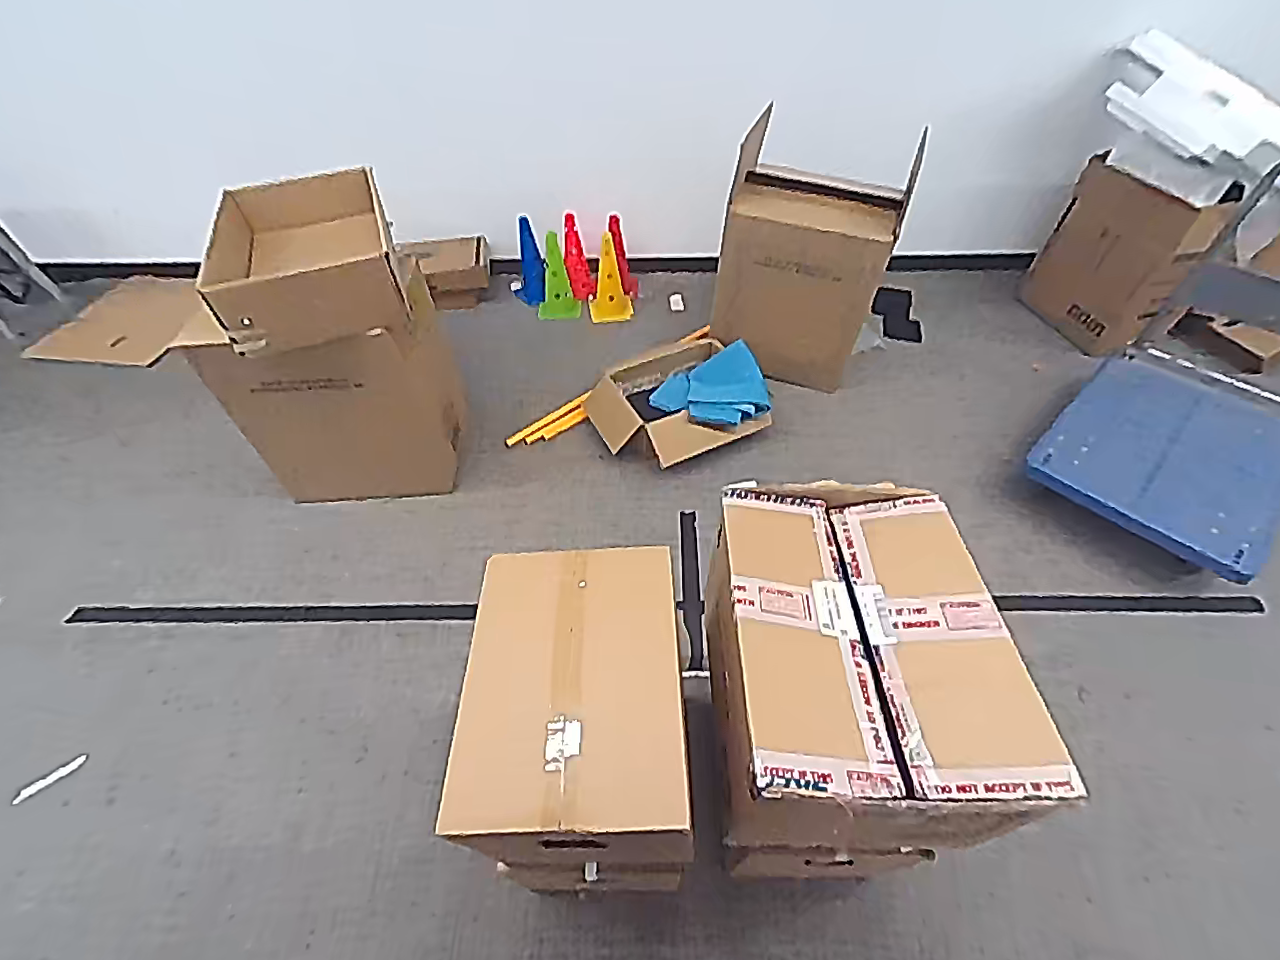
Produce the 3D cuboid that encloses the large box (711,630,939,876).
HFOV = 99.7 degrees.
[{"bbox_3d":[0.338,0.568,1.134,0.320,0.320,0.408,-1,49,0],"label":"large box"}]
